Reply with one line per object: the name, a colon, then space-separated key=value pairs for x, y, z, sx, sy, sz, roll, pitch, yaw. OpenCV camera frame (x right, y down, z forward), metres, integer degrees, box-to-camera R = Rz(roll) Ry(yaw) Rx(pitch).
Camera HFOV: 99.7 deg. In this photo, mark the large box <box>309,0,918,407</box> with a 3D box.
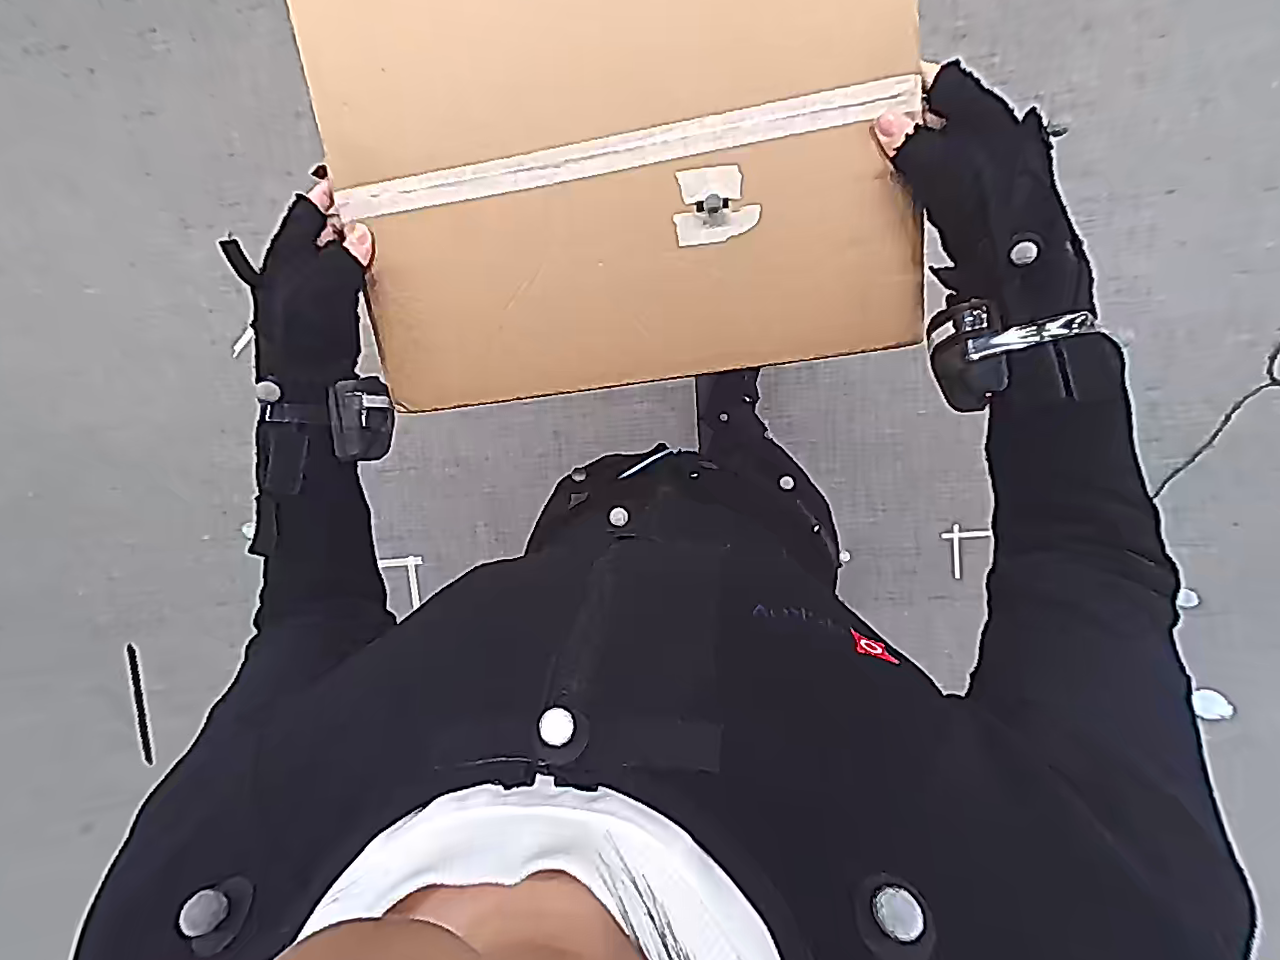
large box: x=-0.003 y=-0.270 z=0.528 sx=0.408 sy=0.320 sz=0.320 roll=-7 pitch=105 yaw=7
